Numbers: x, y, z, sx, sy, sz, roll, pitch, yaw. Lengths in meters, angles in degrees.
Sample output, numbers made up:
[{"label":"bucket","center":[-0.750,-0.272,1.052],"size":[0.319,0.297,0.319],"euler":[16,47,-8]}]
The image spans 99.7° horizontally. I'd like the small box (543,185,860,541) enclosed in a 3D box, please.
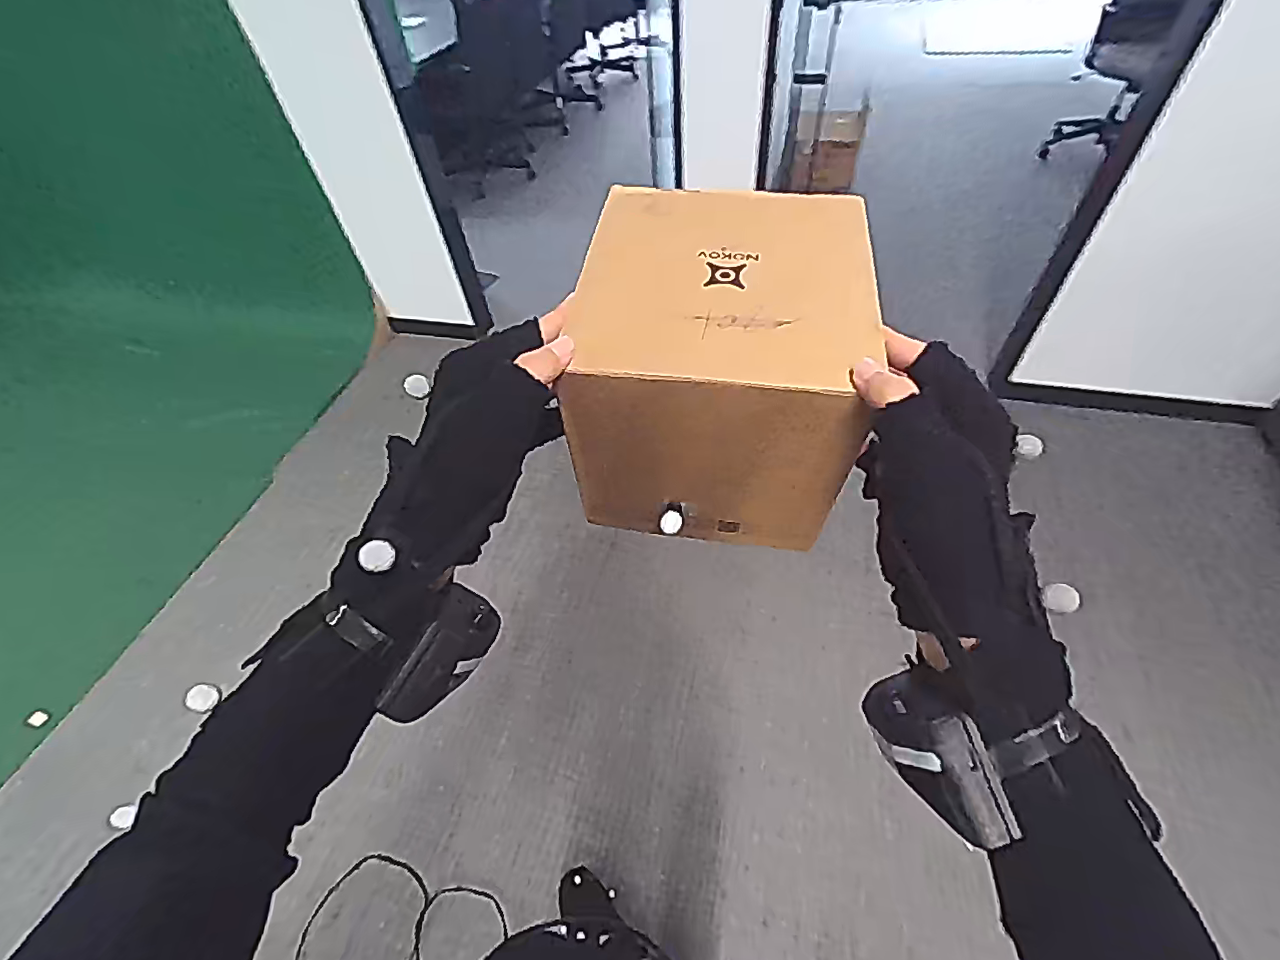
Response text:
[{"label":"small box","center":[0.043,-0.078,0.385],"size":[0.168,0.176,0.179],"euler":[6,57,7]}]
